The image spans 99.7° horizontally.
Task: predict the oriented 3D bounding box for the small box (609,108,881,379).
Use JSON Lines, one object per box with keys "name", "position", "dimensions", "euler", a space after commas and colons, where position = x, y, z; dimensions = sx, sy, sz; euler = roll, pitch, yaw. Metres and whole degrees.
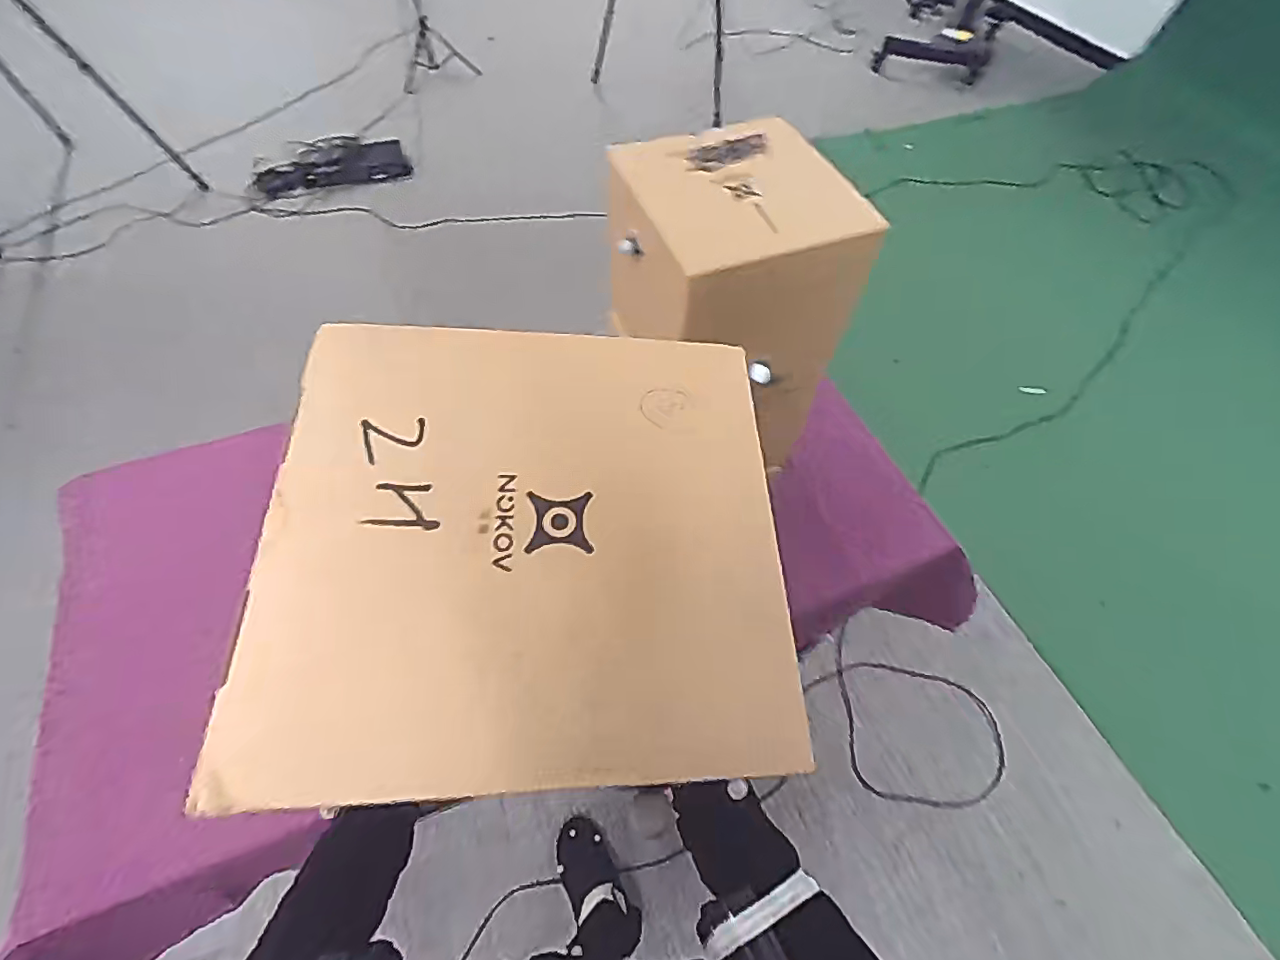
{"name": "small box", "position": [0.075, -0.202, 0.500], "dimensions": [0.168, 0.176, 0.179], "euler": [-19, 61, -11]}
